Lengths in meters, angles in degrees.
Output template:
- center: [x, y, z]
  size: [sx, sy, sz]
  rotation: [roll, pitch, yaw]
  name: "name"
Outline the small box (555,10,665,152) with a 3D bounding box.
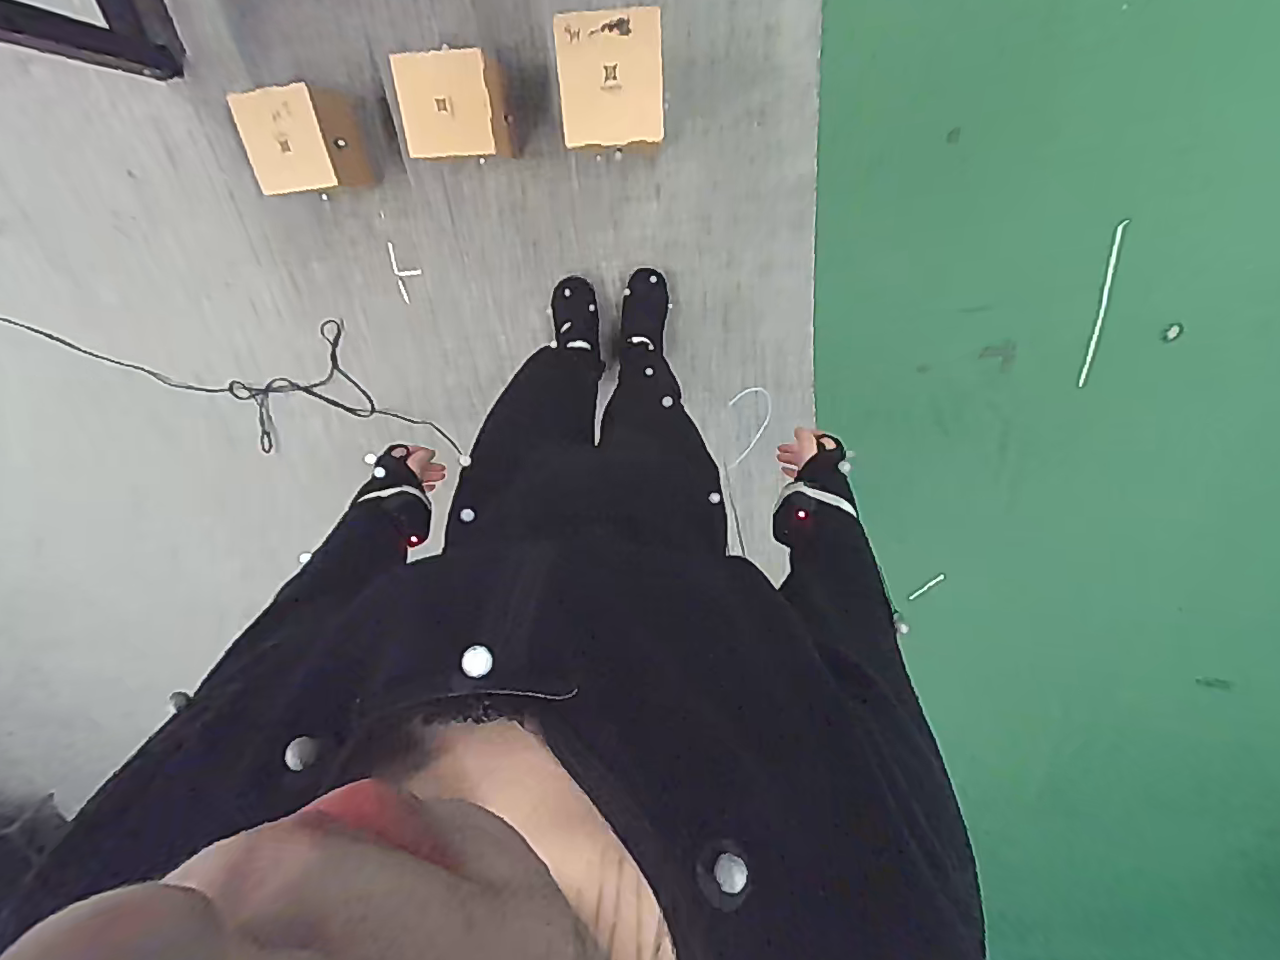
- center: [-0.041, -0.667, 0.925]
  size: [0.168, 0.176, 0.179]
  rotation: [0, 118, 4]
  name: "small box"
